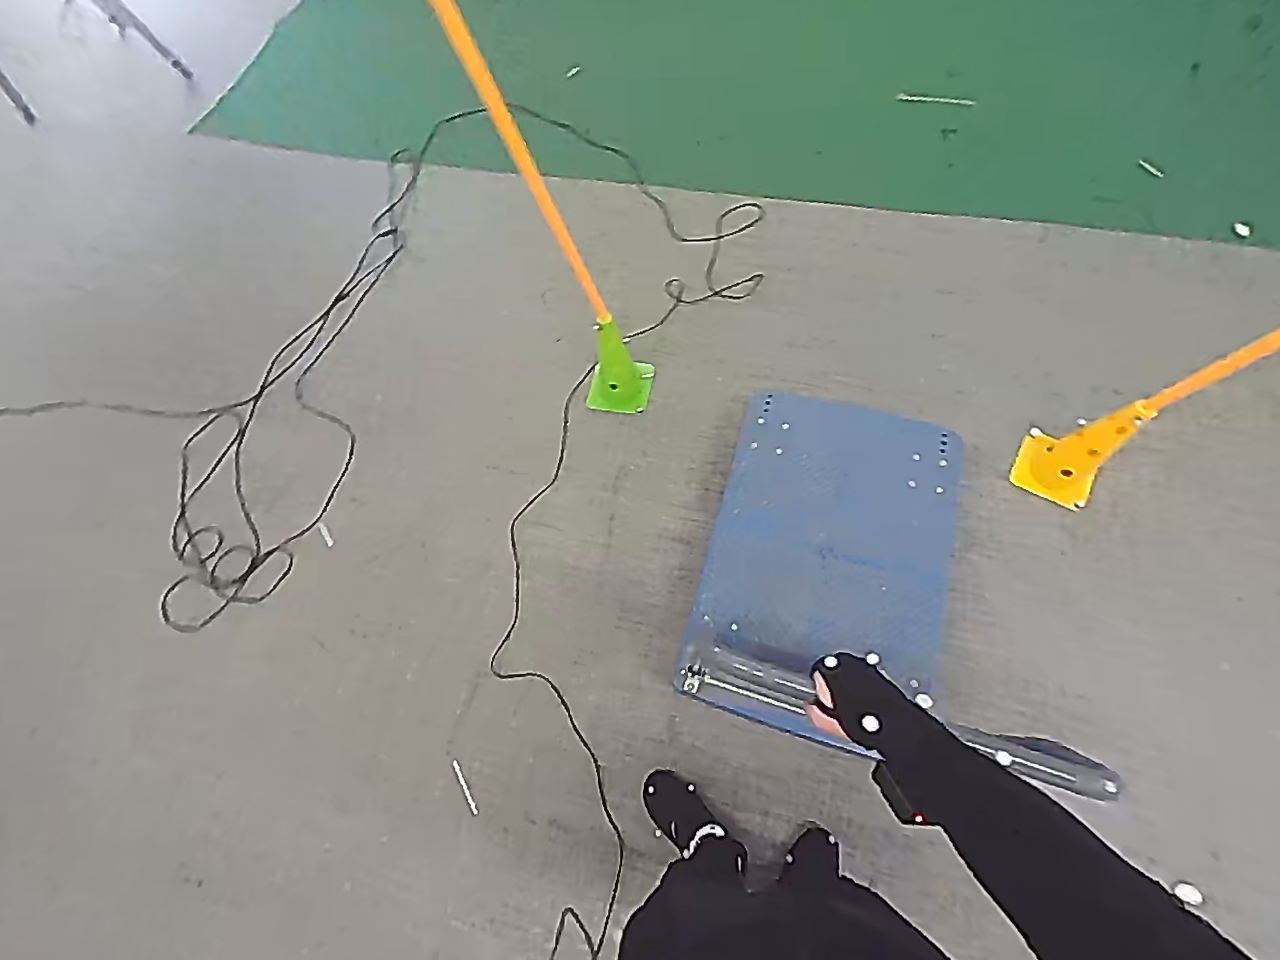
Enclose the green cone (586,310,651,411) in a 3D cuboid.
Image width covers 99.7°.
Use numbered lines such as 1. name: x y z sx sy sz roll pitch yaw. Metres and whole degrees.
1. green cone: -0.094 -0.391 1.667 0.202 0.368 0.200 7 68 11
